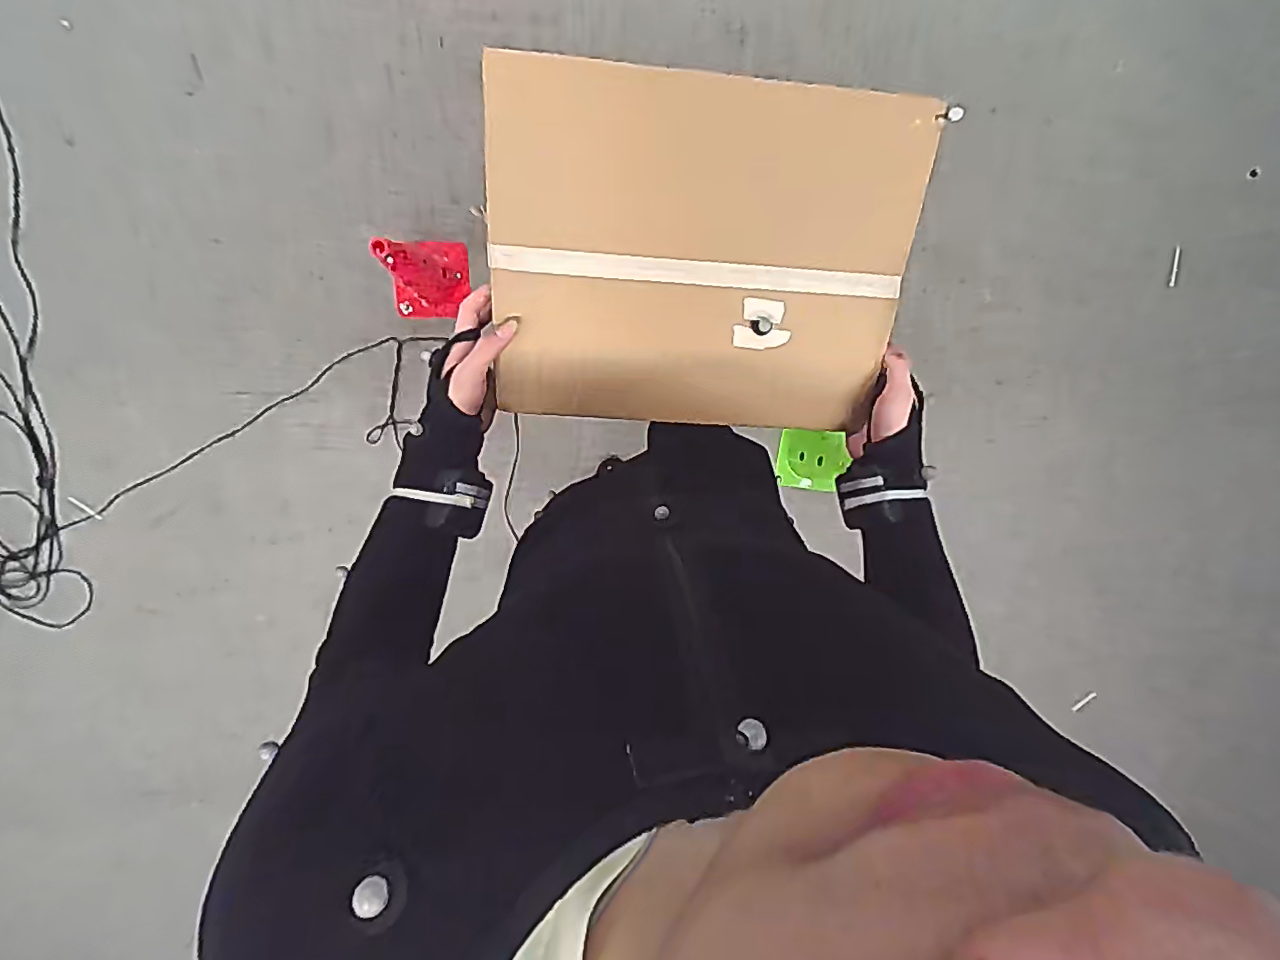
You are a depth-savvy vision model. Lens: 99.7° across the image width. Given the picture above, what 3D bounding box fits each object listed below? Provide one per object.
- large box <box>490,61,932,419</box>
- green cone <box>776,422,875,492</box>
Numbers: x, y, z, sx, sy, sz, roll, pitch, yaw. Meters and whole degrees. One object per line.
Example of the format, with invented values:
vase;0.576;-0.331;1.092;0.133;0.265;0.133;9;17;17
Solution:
large box;0.049;-0.273;0.670;0.408;0.320;0.320;2;116;-5
green cone;0.530;-0.045;1.460;0.200;0.368;0.202;7;97;-5
